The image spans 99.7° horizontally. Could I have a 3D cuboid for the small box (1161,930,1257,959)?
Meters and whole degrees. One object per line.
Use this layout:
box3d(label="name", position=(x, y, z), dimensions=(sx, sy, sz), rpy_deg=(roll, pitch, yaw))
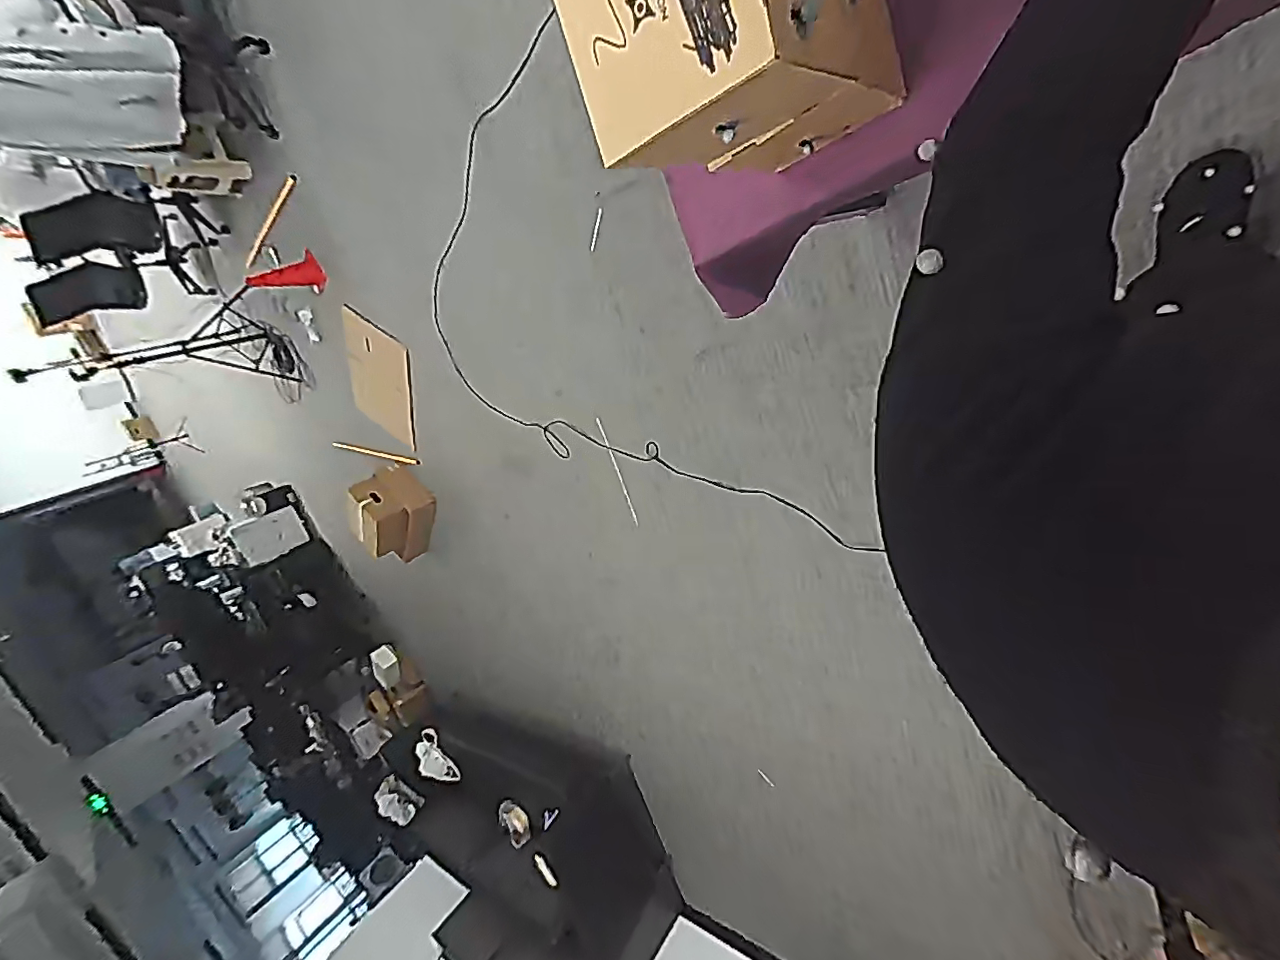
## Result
box3d(label="small box", position=(1.242, 1.126, 1.158), dimensions=(0.179, 0.176, 0.168), rpy_deg=(-5, 112, 43))

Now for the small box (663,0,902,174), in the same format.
box3d(label="small box", position=(0.158, -0.453, 0.577), dimensions=(0.168, 0.176, 0.179), rpy_deg=(-8, 108, 44))
